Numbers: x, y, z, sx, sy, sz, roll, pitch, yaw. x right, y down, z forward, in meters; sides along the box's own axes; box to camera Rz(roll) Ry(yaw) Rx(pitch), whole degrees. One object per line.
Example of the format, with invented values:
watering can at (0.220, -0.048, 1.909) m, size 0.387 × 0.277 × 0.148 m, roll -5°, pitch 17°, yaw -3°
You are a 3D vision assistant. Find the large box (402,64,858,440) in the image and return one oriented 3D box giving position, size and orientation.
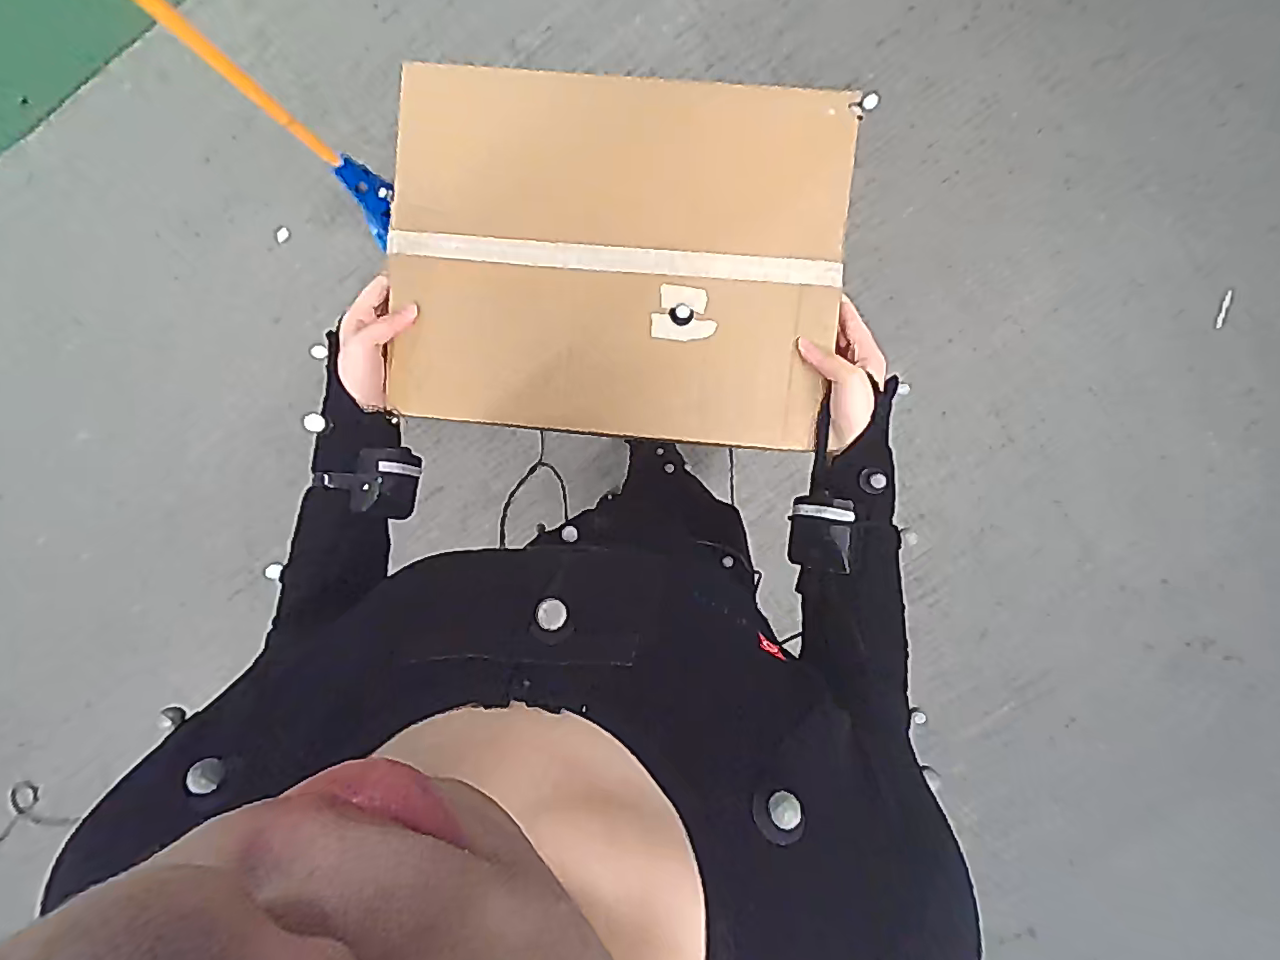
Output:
large box at (-0.013, -0.217, 0.642) m, size 0.408 × 0.320 × 0.320 m, roll 6°, pitch 95°, yaw 1°

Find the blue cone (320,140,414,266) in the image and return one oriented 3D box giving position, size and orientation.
blue cone at (-0.633, -0.681, 1.294) m, size 0.193 × 0.380 × 0.192 m, roll -27°, pitch 92°, yaw 3°
